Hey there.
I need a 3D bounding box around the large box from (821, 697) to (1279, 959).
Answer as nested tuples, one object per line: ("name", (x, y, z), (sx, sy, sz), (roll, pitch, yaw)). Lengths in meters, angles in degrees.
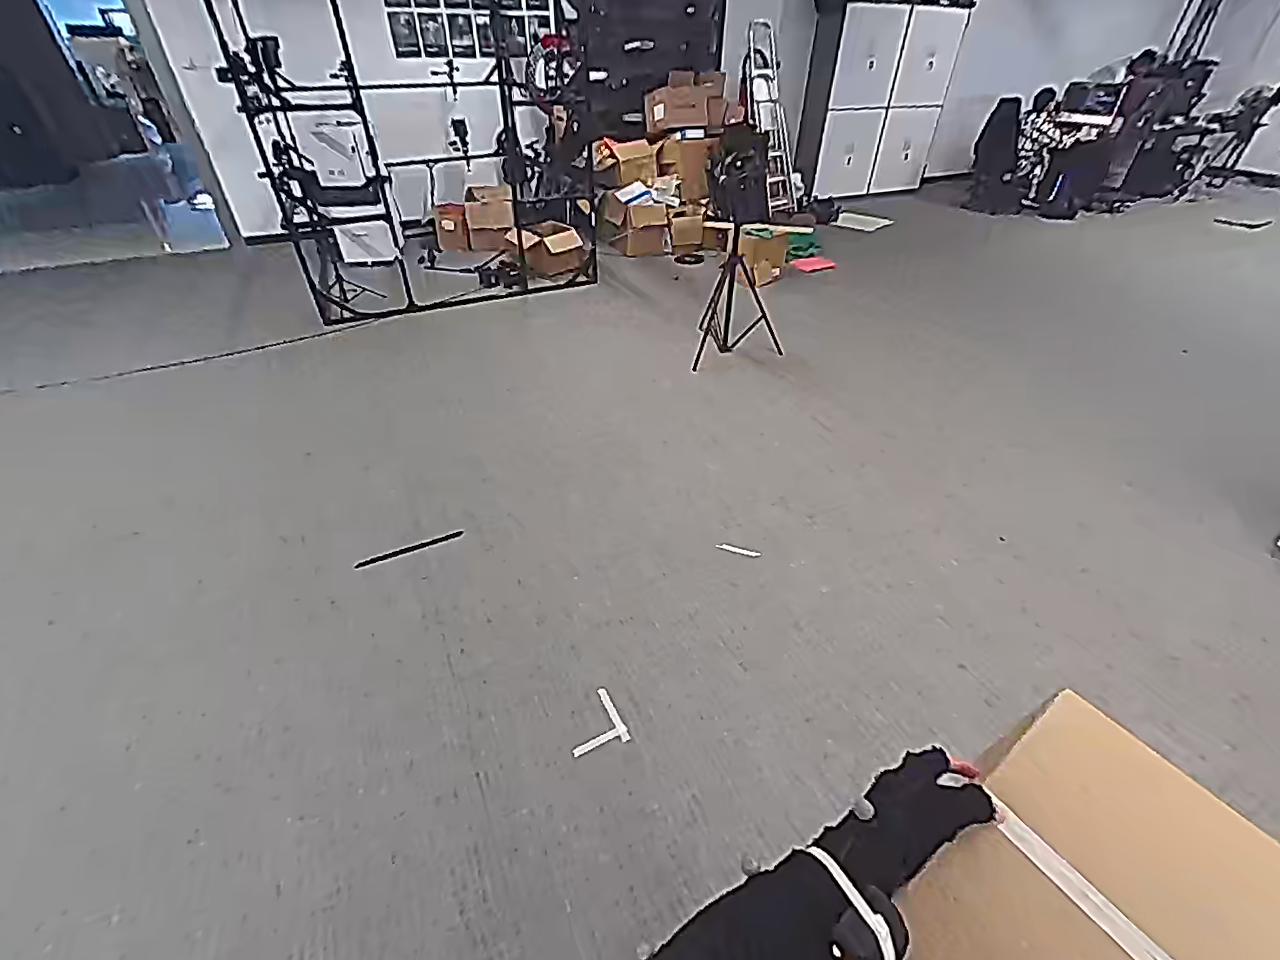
("large box", (0.442, 0.501, 0.501), (0.320, 0.320, 0.408), (-33, 52, -18))
